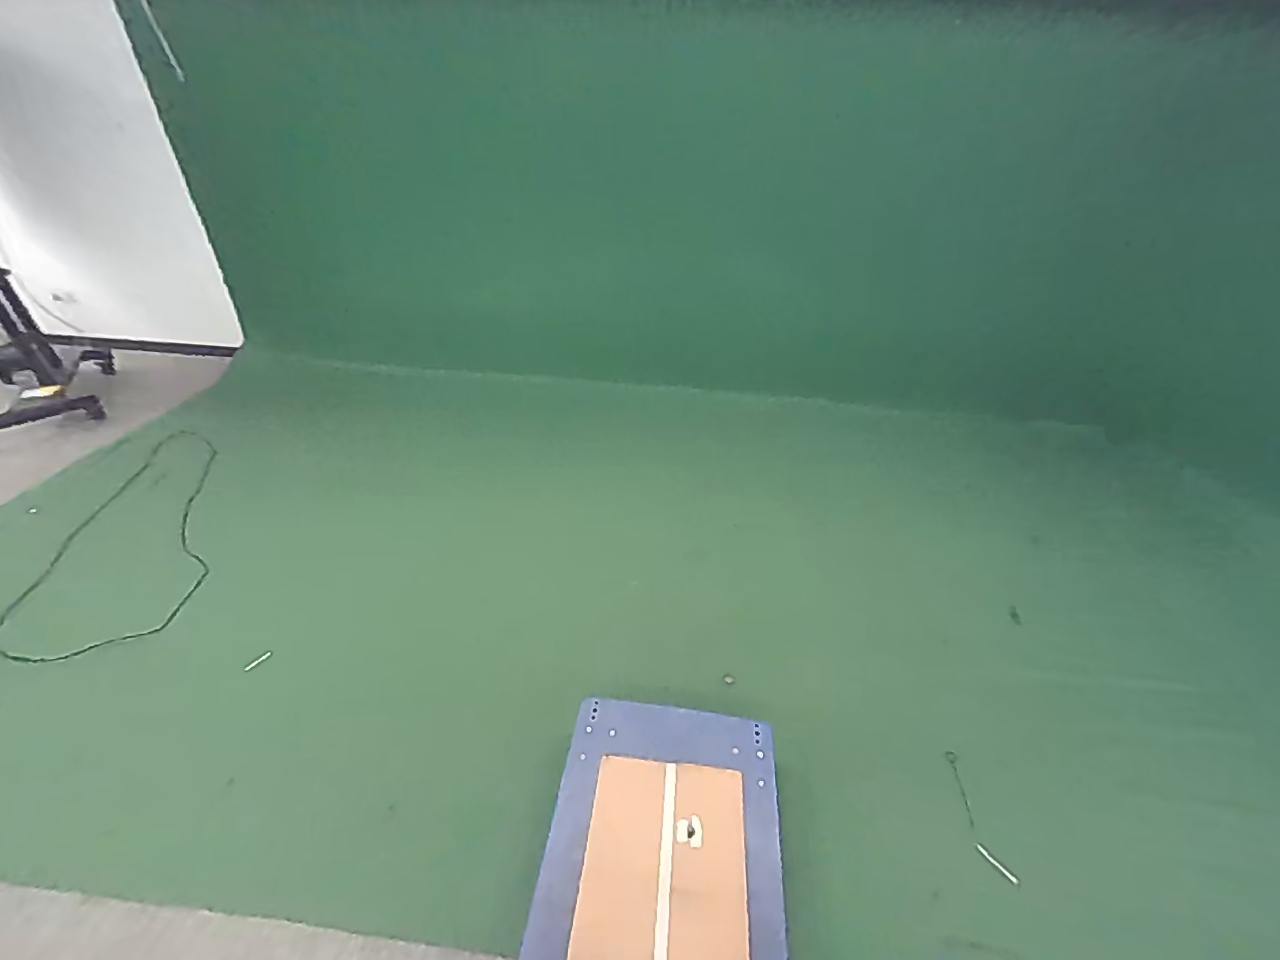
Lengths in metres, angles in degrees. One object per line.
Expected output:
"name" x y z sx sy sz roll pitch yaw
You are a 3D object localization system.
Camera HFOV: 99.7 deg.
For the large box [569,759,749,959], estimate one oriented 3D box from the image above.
"large box" 0.043 0.872 1.126 0.320 0.320 0.408 5 35 4
